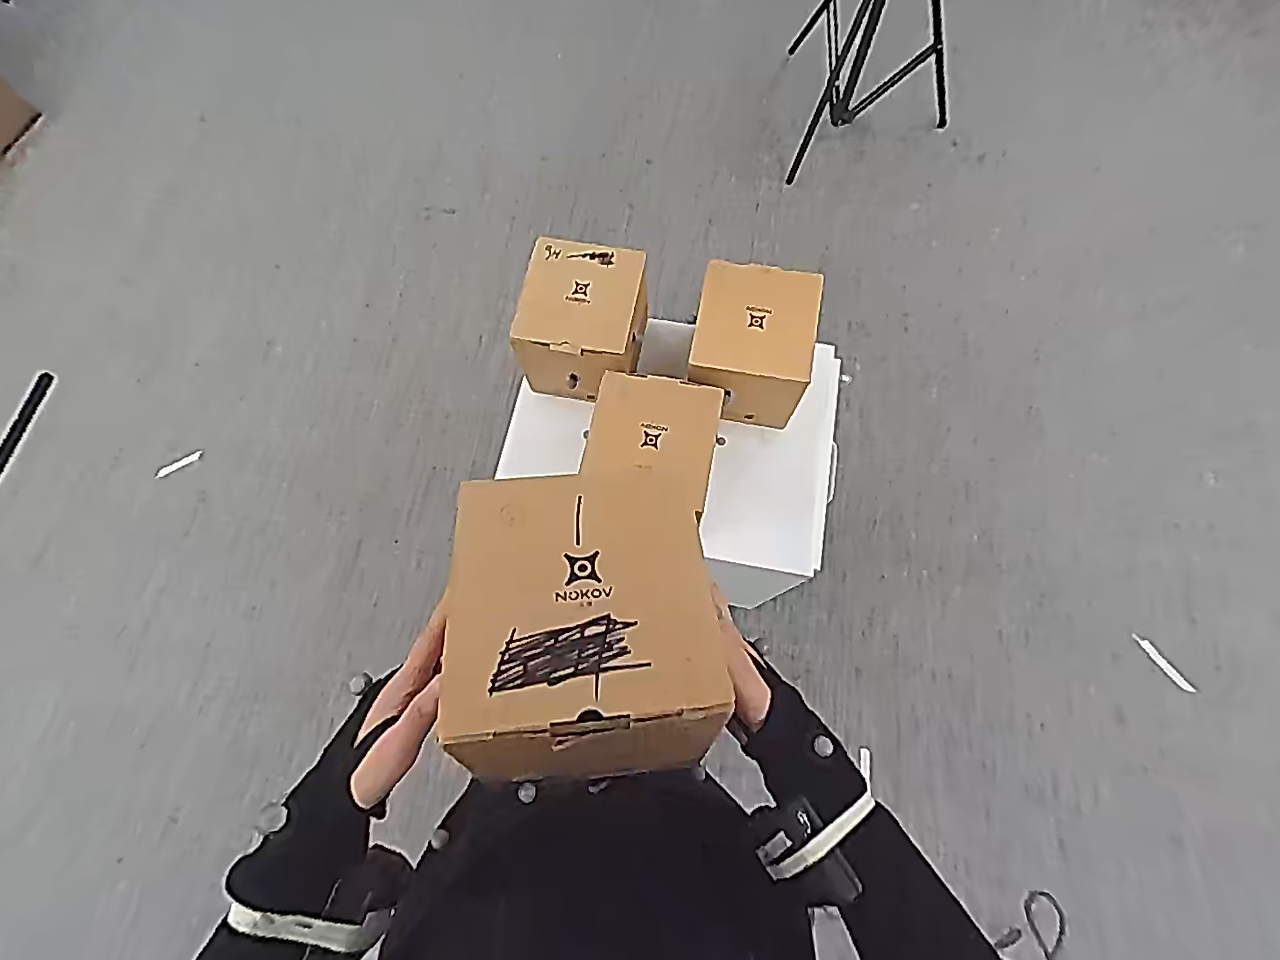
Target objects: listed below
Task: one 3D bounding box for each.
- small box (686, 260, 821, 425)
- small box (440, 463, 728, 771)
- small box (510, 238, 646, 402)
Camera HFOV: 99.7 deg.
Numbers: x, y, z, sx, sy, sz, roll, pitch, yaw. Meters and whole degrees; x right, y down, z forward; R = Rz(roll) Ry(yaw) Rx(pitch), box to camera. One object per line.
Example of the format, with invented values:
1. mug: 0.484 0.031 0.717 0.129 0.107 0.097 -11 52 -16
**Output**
1. small box: 0.164 -0.200 0.822 0.168 0.176 0.179 9 73 5
2. small box: -0.040 0.110 0.413 0.168 0.176 0.179 -4 51 -6
3. small box: -0.084 -0.238 0.841 0.168 0.176 0.179 10 75 4
